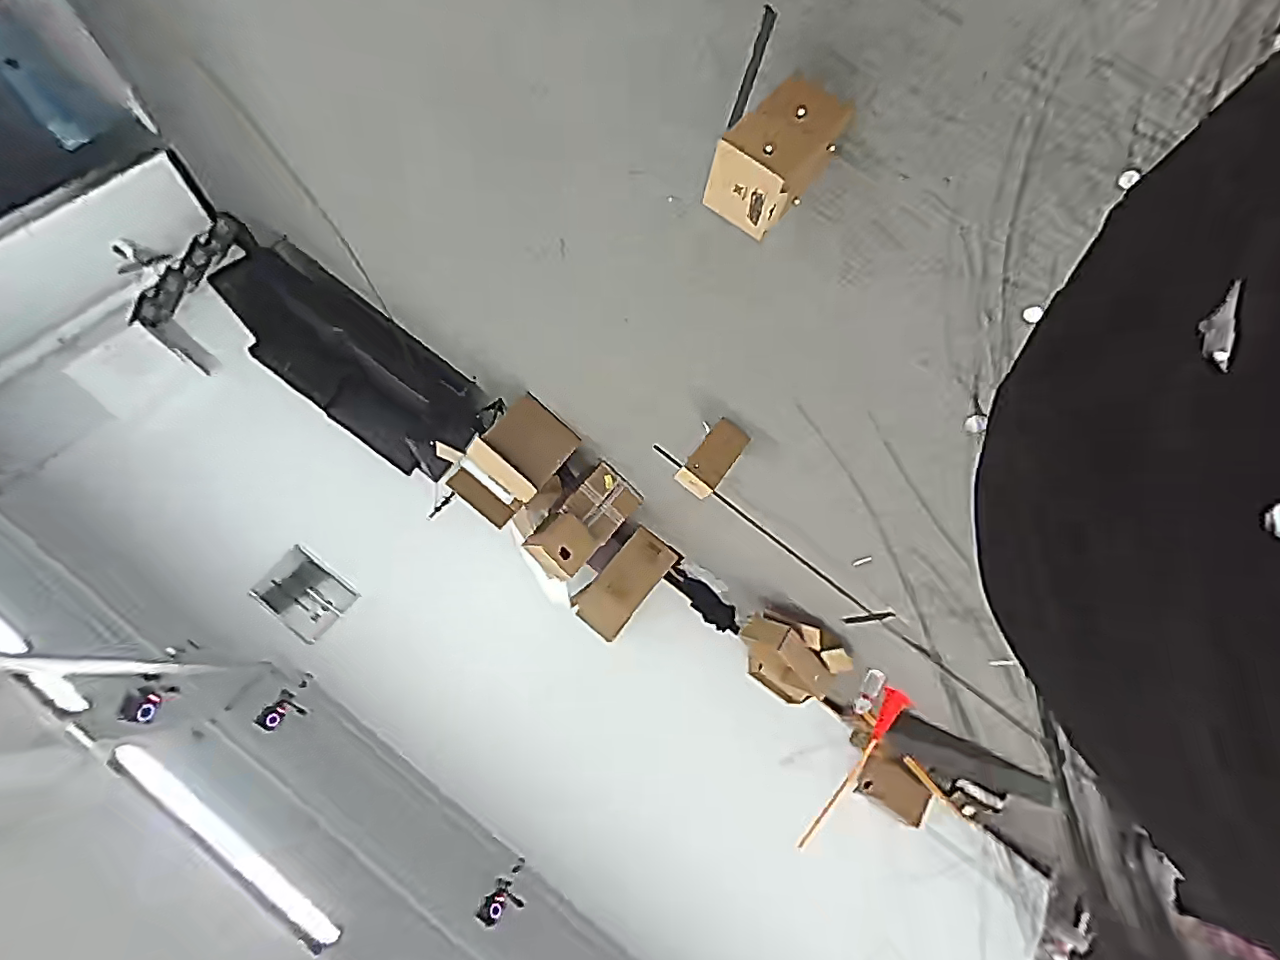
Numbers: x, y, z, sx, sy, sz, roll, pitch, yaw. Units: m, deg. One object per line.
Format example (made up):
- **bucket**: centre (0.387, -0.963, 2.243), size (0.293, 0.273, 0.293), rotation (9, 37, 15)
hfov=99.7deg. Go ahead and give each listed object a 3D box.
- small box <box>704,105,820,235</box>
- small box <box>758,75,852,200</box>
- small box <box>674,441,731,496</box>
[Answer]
- **small box**: centre (0.279, -0.713, 1.239), size (0.179, 0.176, 0.168), rotation (37, 158, 8)
- **small box**: centre (0.376, -0.829, 1.304), size (0.179, 0.176, 0.168), rotation (38, 158, 9)
- **small box**: centre (0.289, -0.058, 2.500), size (0.179, 0.176, 0.168), rotation (39, 159, 0)
